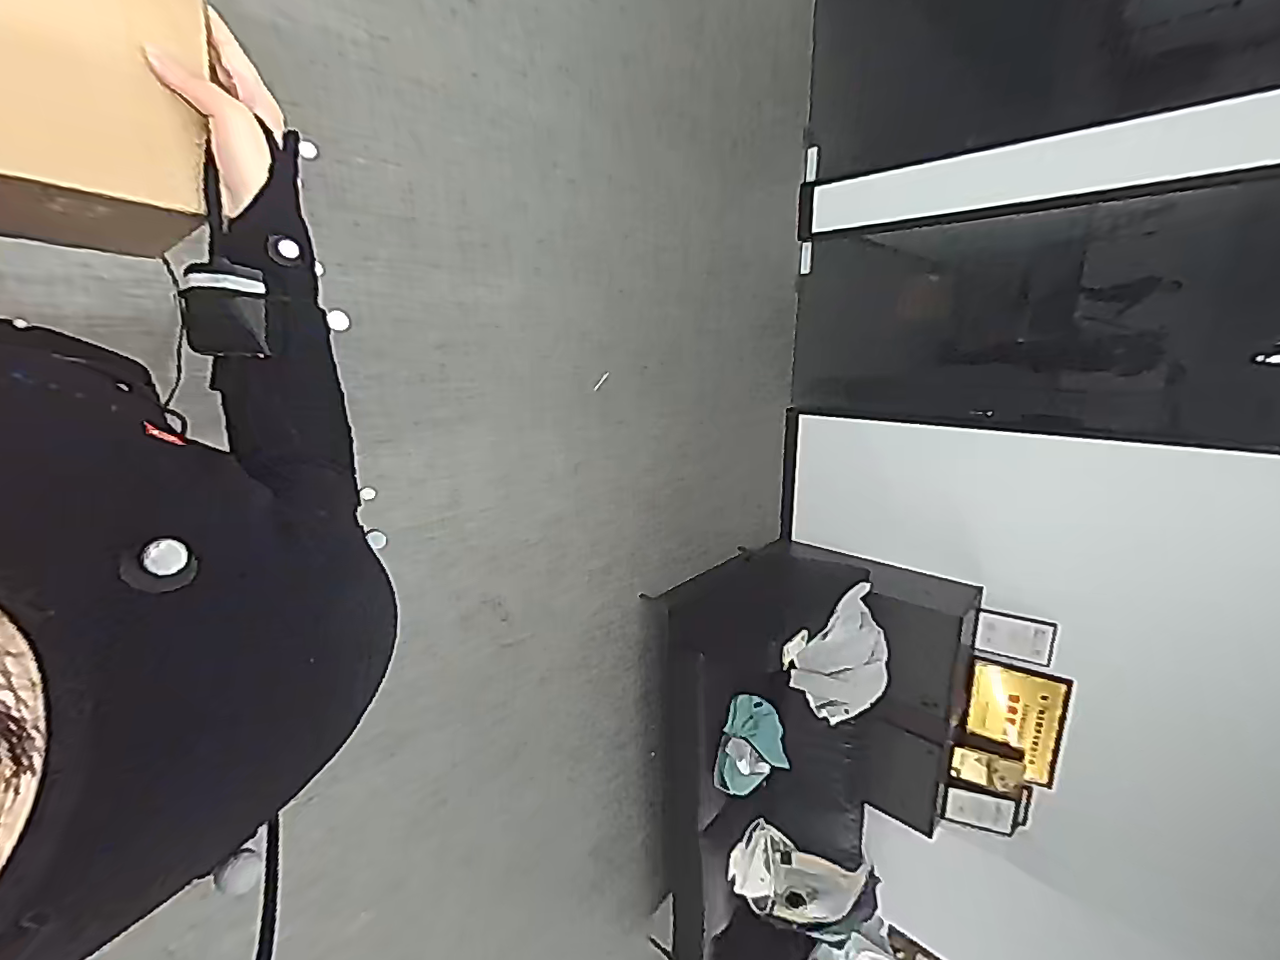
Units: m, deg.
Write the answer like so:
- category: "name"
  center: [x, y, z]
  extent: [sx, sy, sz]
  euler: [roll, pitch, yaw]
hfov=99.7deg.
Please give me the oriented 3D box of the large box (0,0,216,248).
- category: "large box"
  center: [-0.556, -0.356, 0.328]
  extent: [0.408, 0.320, 0.320]
  euler: [-9, 107, -48]
